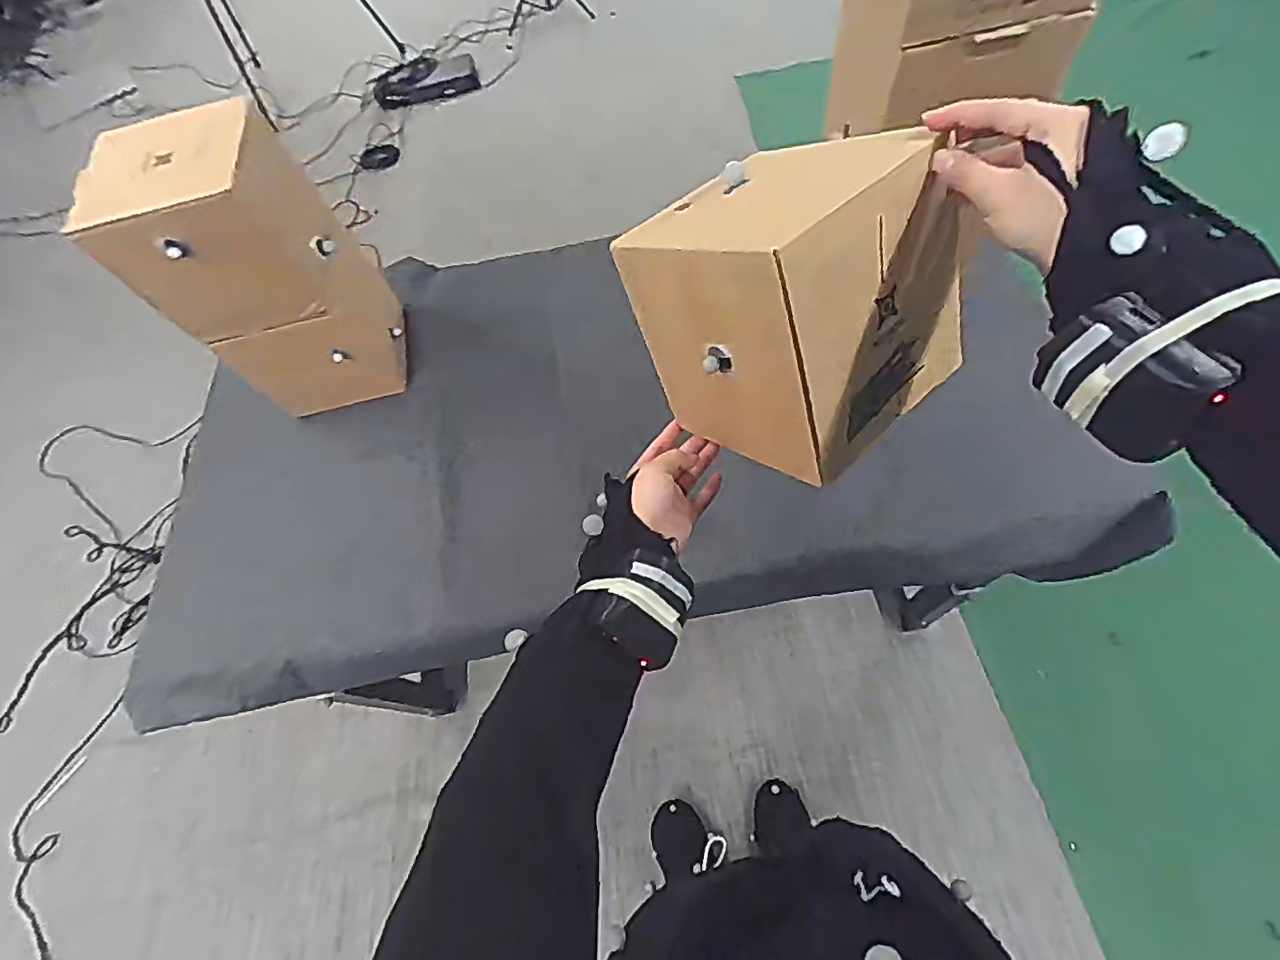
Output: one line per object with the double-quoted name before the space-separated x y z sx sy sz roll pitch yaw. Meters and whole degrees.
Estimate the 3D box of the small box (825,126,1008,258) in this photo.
"small box" 0.335 -0.360 0.719 0.168 0.176 0.179 -9 64 5

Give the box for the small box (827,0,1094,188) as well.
"small box" 0.310 -0.427 0.572 0.168 0.176 0.179 -9 64 5

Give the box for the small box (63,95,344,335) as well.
"small box" -0.479 -0.294 0.625 0.179 0.176 0.168 -14 65 0

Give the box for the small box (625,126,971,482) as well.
"small box" 0.118 -0.134 0.412 0.168 0.179 0.176 -38 38 -17

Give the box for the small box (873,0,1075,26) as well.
"small box" 0.280 -0.497 0.425 0.168 0.176 0.179 -10 63 4
